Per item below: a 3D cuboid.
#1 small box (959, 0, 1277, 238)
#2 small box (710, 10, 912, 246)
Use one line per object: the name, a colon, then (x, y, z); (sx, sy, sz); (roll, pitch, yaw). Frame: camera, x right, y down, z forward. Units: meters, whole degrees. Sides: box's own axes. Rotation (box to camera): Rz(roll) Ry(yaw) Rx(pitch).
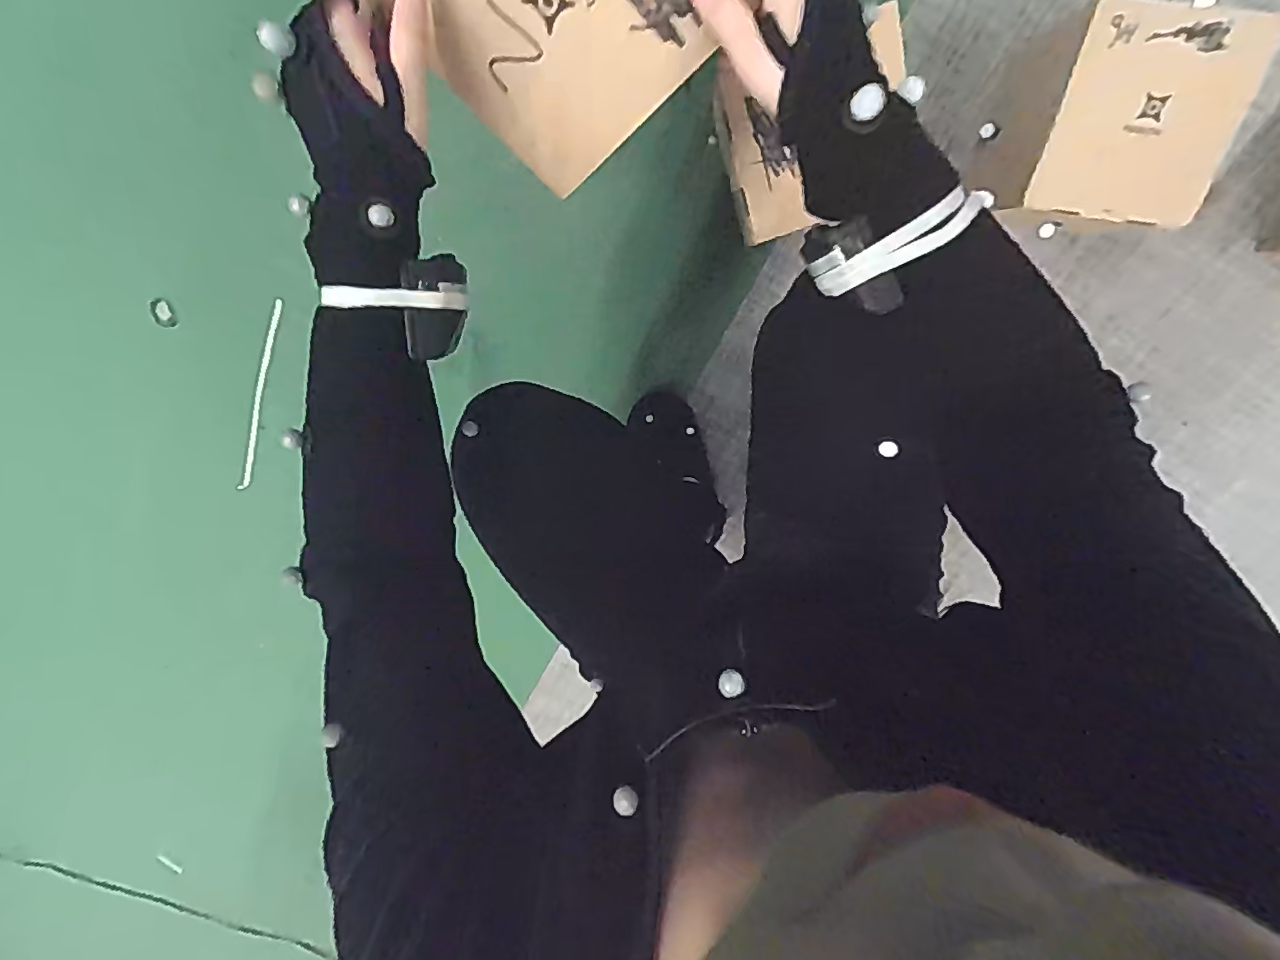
small box: (0.483, -0.372, 0.590); (0.168, 0.176, 0.179); (11, 115, 2)
small box: (0.185, -0.379, 0.624); (0.179, 0.176, 0.168); (-15, 111, 12)
